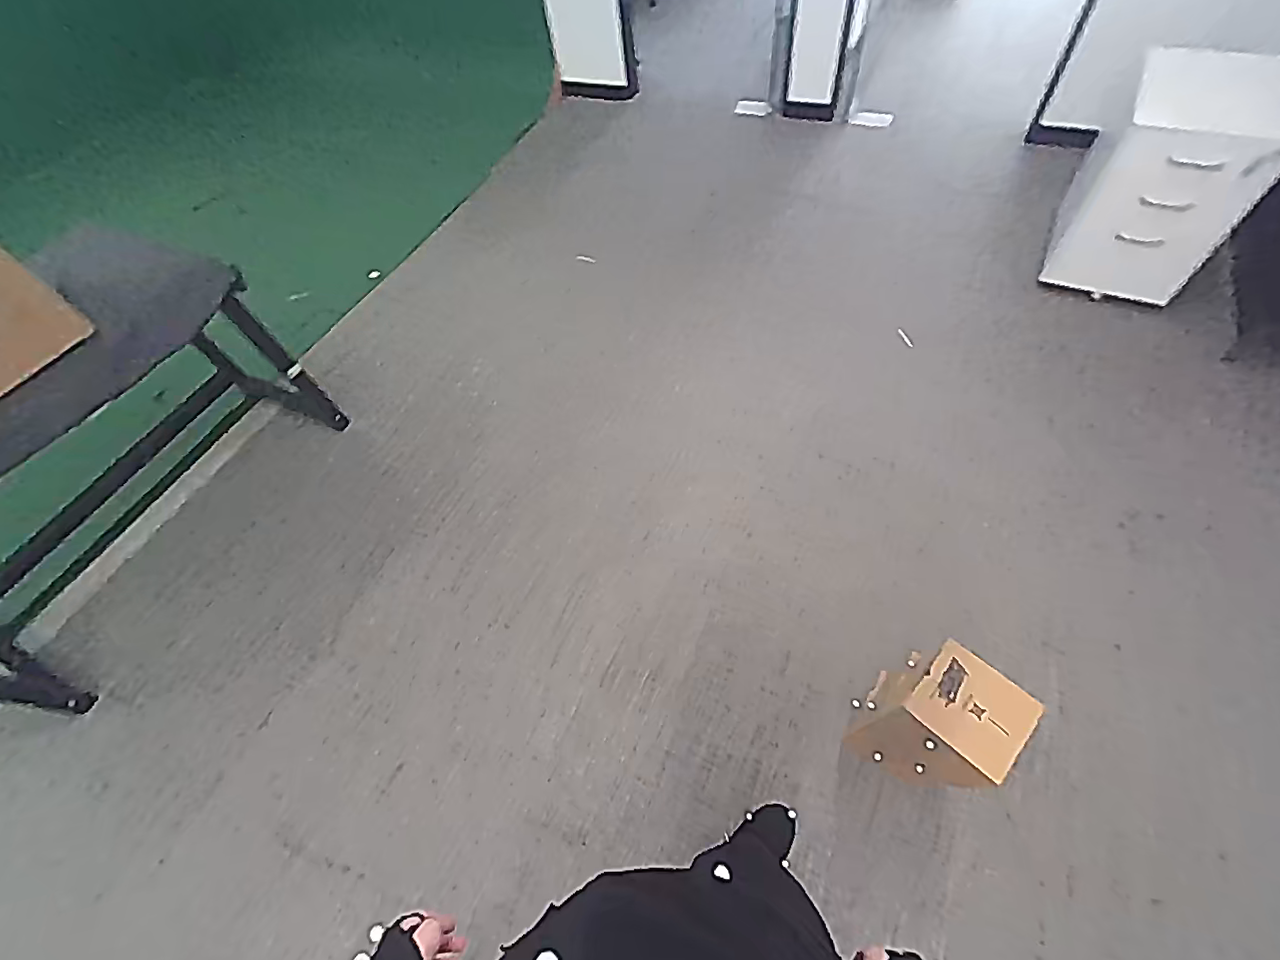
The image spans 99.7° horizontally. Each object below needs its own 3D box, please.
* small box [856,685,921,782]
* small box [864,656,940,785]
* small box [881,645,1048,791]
[{"bbox_3d":[0.617,0.594,1.264,0.168,0.176,0.179,0,55,6],"label":"small box"},{"bbox_3d":[0.593,0.510,1.136,0.168,0.176,0.179,32,65,23],"label":"small box"},{"bbox_3d":[0.574,0.439,0.986,0.168,0.176,0.179,-39,61,-15],"label":"small box"}]
